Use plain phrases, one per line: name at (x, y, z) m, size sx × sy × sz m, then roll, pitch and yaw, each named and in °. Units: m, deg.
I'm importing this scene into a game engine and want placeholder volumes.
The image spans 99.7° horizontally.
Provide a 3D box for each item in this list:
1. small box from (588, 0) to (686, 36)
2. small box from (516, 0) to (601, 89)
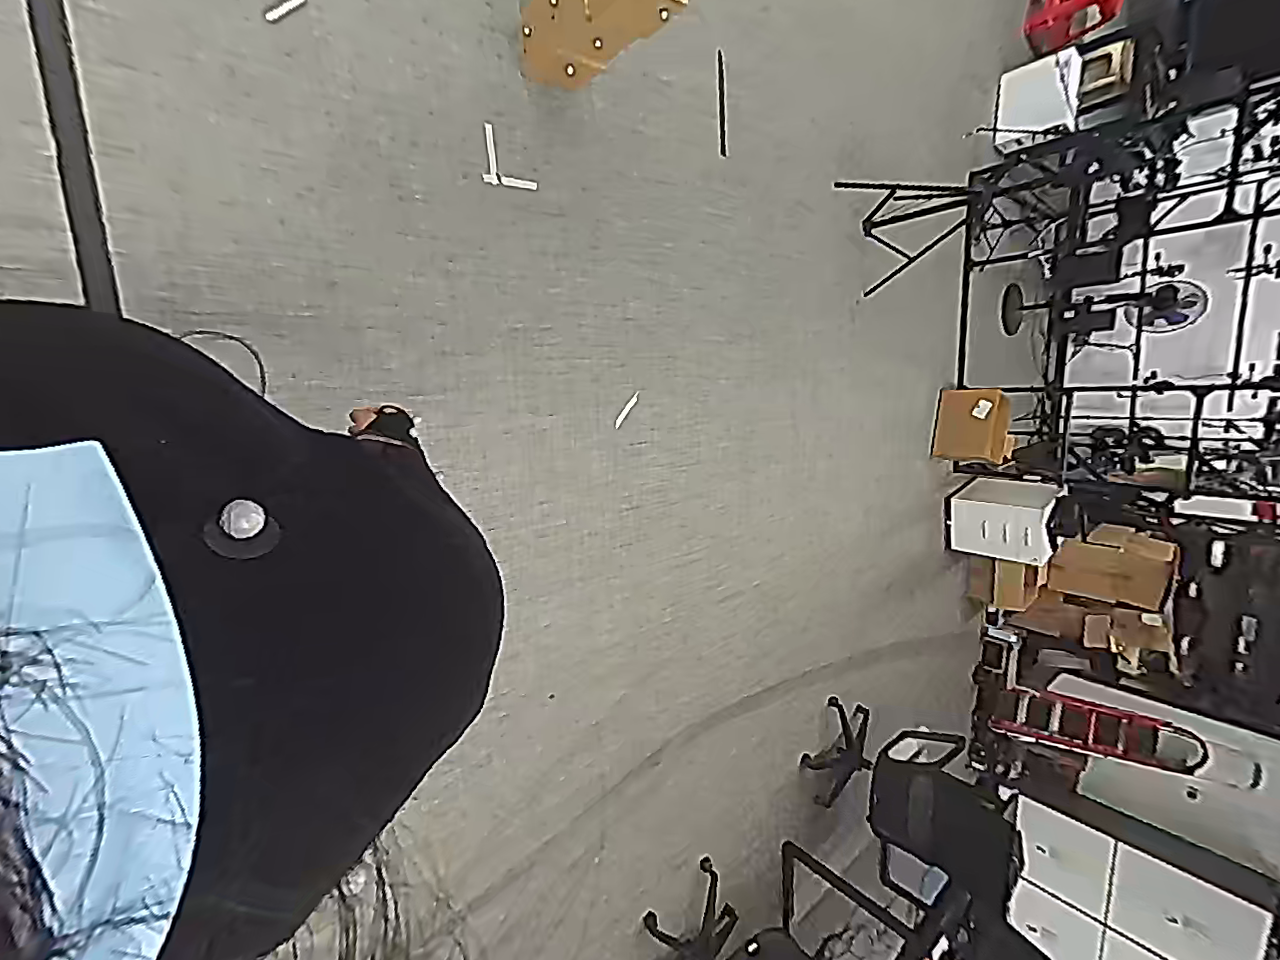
small box at (-0.014, -1.218, 1.301) m, size 0.179 × 0.176 × 0.168 m, roll -17°, pitch 107°, yaw -37°
small box at (-0.232, -1.257, 1.545) m, size 0.179 × 0.176 × 0.168 m, roll -13°, pitch 105°, yaw -38°
